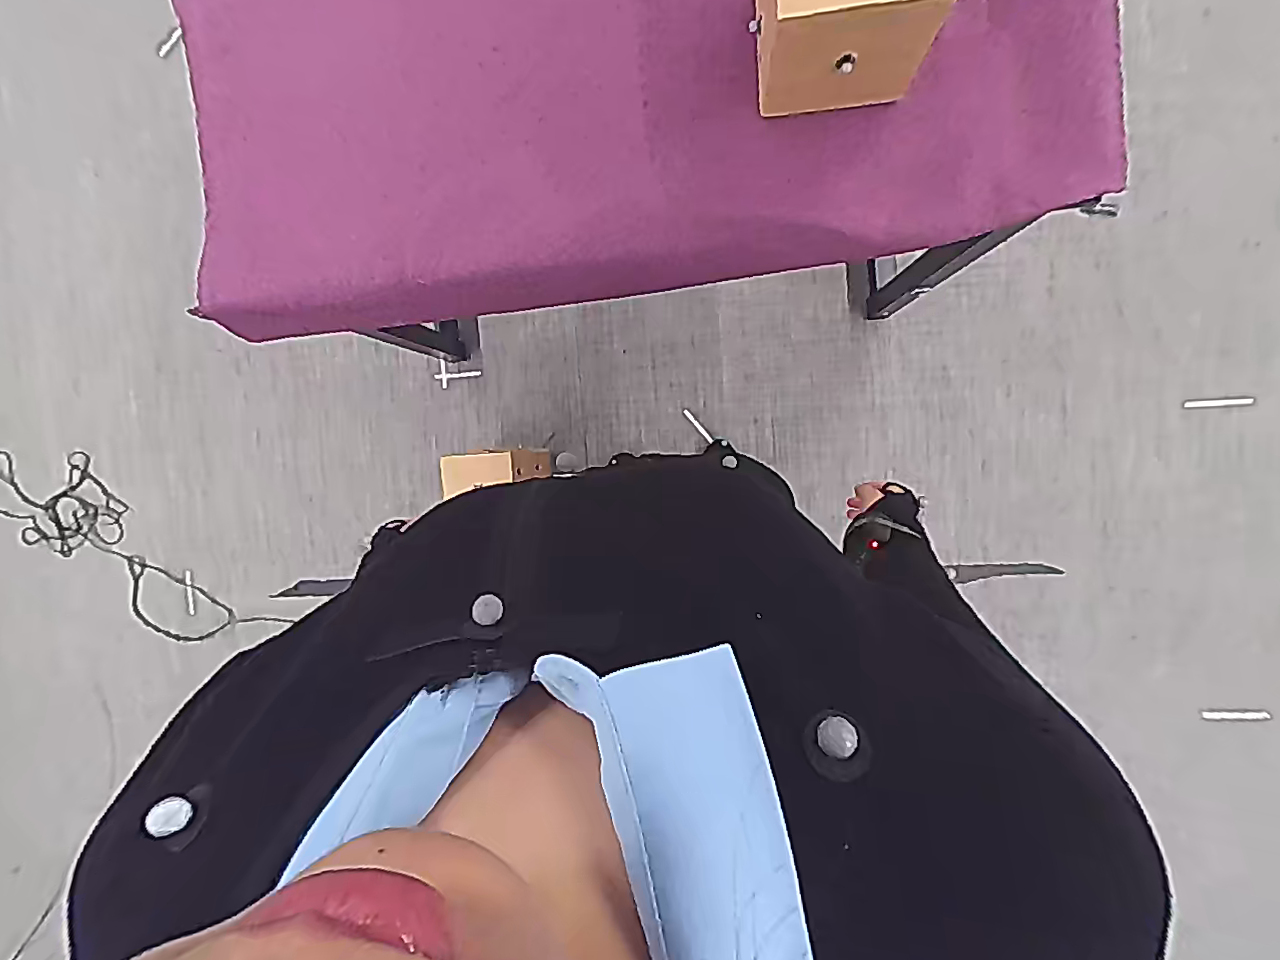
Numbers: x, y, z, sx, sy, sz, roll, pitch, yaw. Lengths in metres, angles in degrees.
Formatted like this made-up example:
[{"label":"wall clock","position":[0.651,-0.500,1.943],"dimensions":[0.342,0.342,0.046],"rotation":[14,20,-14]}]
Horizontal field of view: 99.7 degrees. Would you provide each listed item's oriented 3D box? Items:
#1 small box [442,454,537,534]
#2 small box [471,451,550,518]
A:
[{"label":"small box","position":[-0.351,0.028,1.284],"dimensions":[0.168,0.176,0.179],"rotation":[-3,94,6]},{"label":"small box","position":[-0.342,0.015,1.449],"dimensions":[0.168,0.176,0.179],"rotation":[2,94,5]}]
